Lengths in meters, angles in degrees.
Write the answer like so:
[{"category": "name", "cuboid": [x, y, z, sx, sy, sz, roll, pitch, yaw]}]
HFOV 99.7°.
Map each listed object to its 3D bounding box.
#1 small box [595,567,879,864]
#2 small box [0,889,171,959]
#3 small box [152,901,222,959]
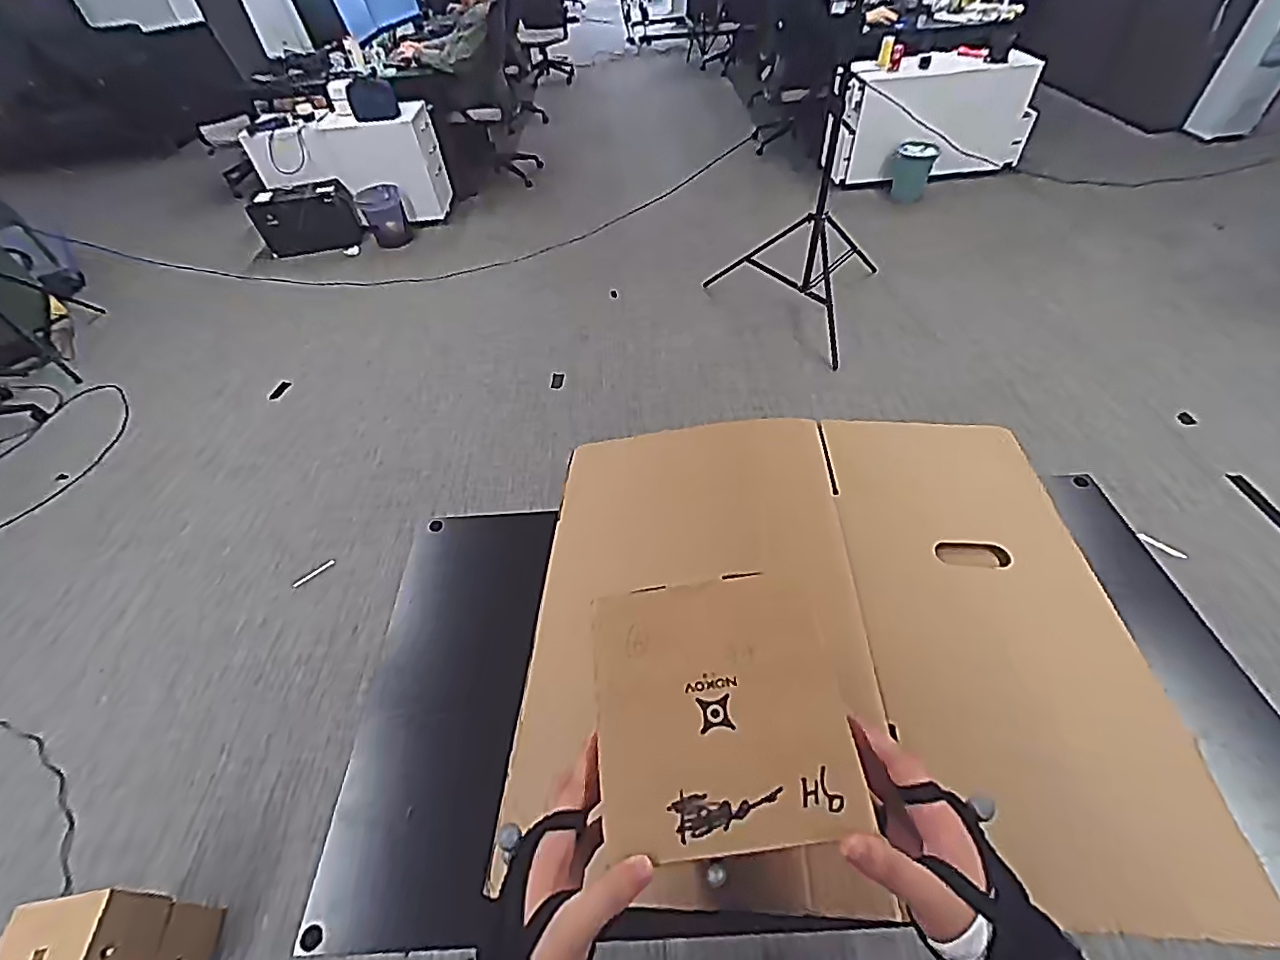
[{"category": "small box", "cuboid": [0.063, 0.193, 0.432, 0.168, 0.176, 0.179, -10, 55, 4]}, {"category": "small box", "cuboid": [-1.020, 0.874, 0.985, 0.168, 0.176, 0.179, -9, 47, -4]}, {"category": "small box", "cuboid": [-1.007, 0.985, 1.102, 0.168, 0.176, 0.179, -7, 49, -1]}]
